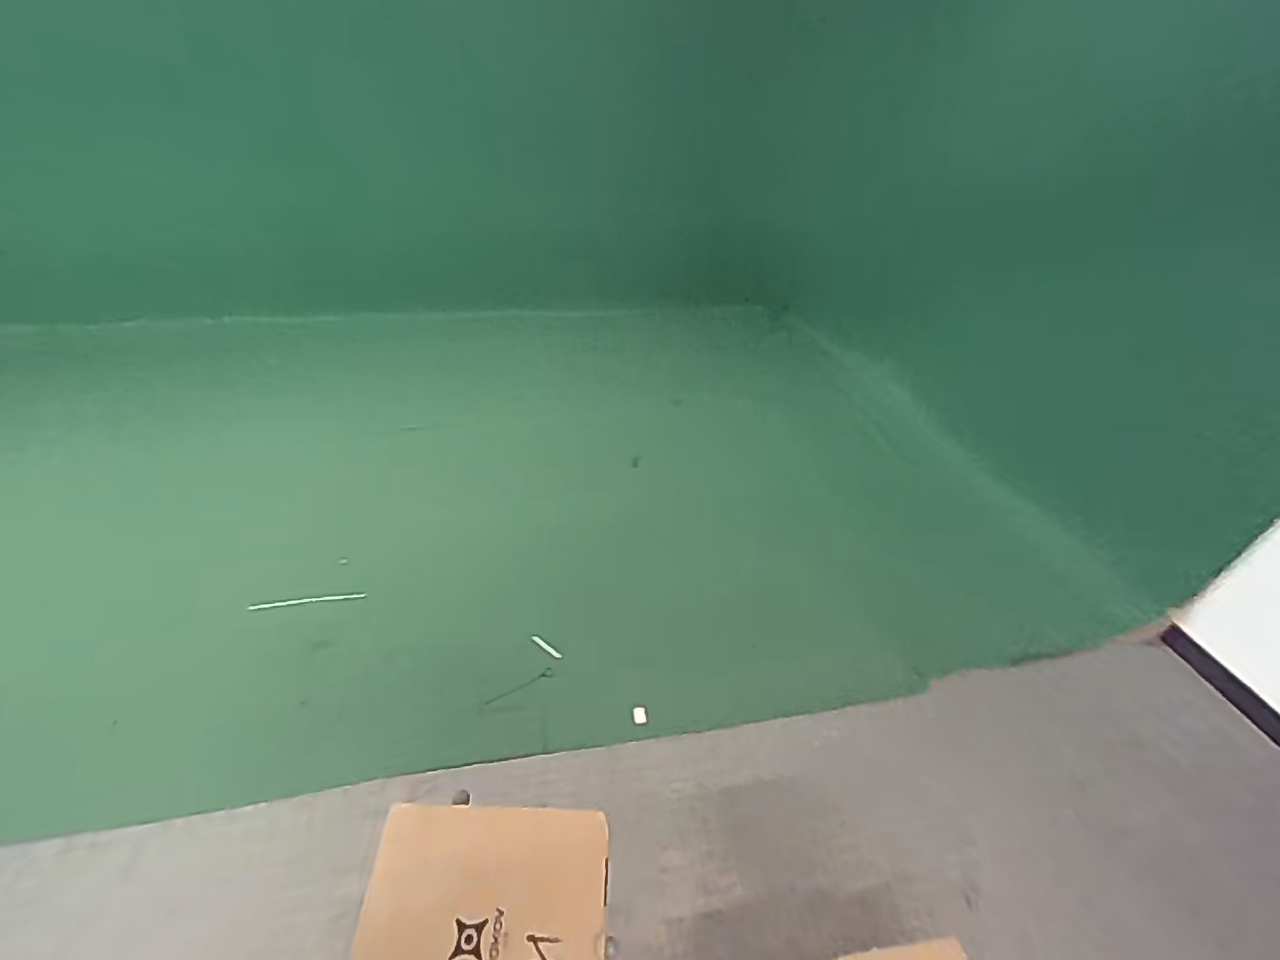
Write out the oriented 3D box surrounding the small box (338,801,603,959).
[{"bbox_3d":[-0.123,0.371,0.435,0.179,0.176,0.168,4,50,-4],"label":"small box"}]
